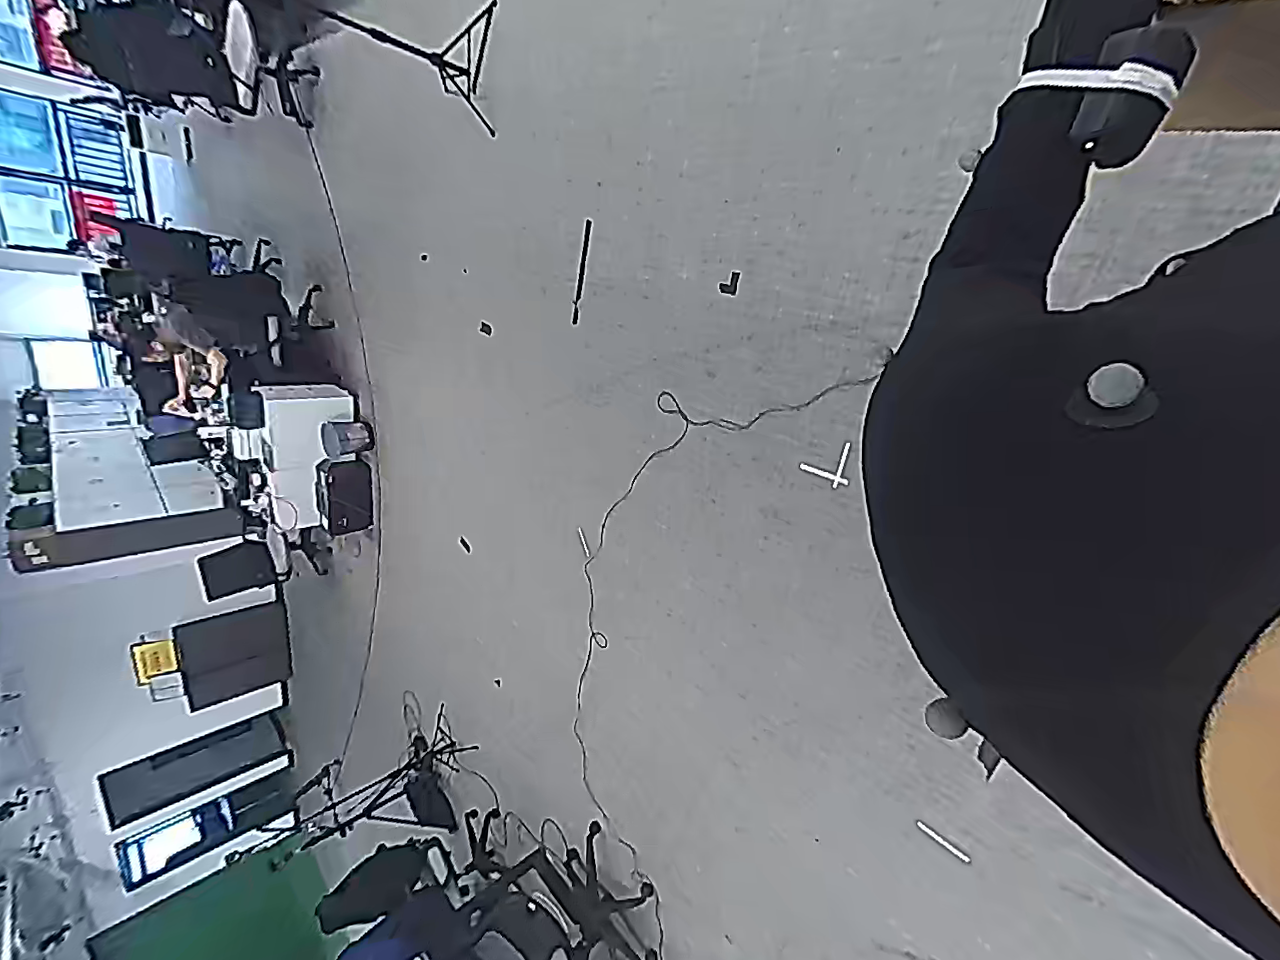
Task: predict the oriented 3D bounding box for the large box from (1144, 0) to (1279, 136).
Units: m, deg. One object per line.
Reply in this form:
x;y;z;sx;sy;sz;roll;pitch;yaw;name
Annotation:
0.586;-0.397;0.279;0.408;0.320;0.320;25;119;34;large box
